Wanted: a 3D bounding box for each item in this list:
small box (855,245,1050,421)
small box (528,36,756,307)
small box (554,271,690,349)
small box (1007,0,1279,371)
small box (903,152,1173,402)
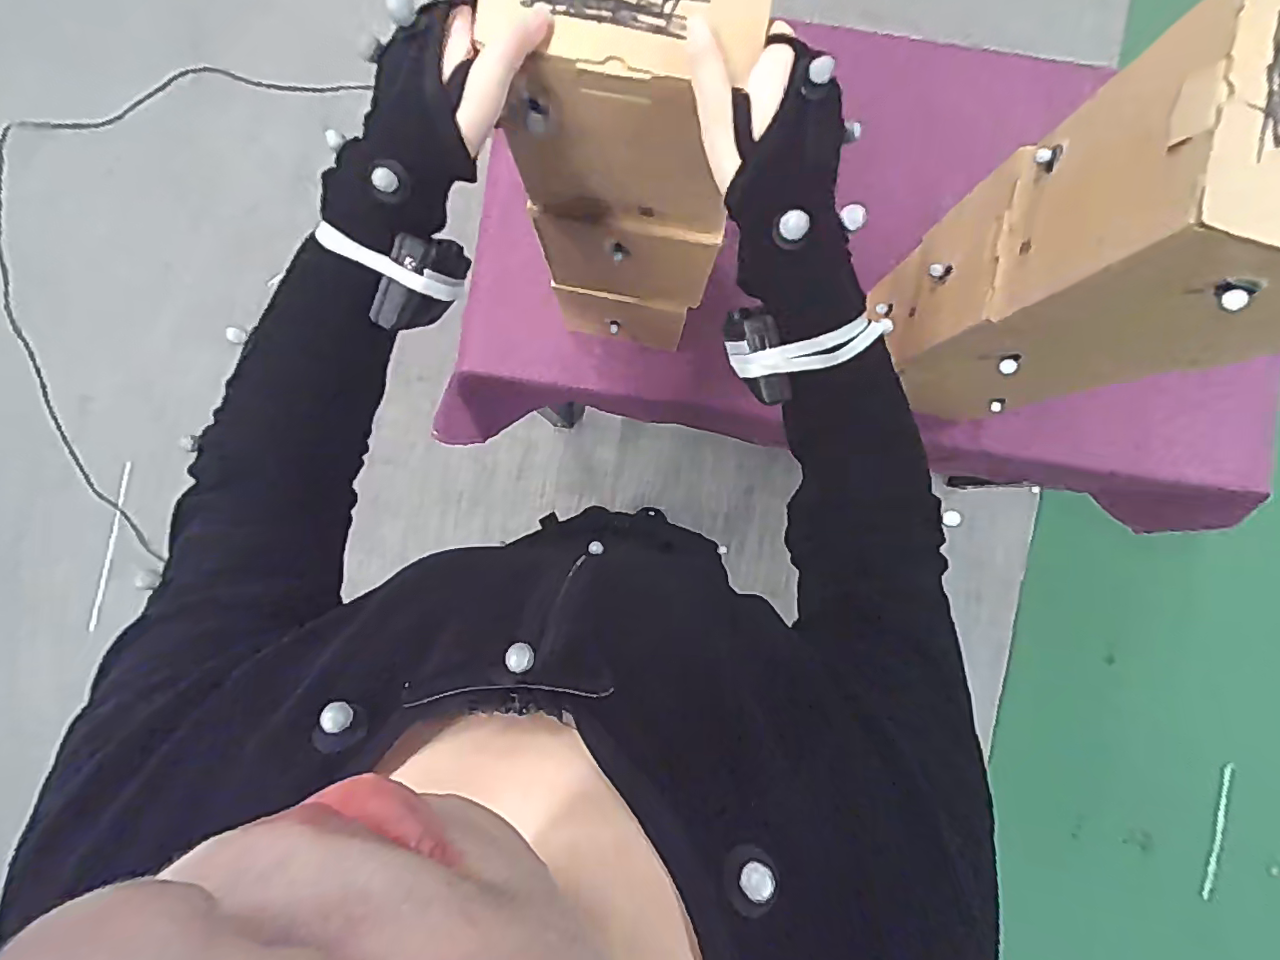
[{"bbox_3d":[0.408,-0.180,0.715,0.179,0.176,0.168,11,88,0],"label":"small box"},{"bbox_3d":[0.001,-0.293,0.553,0.179,0.176,0.168,11,89,-1],"label":"small box"},{"bbox_3d":[-0.005,-0.288,0.716,0.168,0.176,0.179,12,88,0],"label":"small box"},{"bbox_3d":[0.411,-0.189,0.386,0.179,0.176,0.168,15,88,-1],"label":"small box"},{"bbox_3d":[0.402,-0.187,0.551,0.179,0.176,0.168,15,88,1],"label":"small box"}]
